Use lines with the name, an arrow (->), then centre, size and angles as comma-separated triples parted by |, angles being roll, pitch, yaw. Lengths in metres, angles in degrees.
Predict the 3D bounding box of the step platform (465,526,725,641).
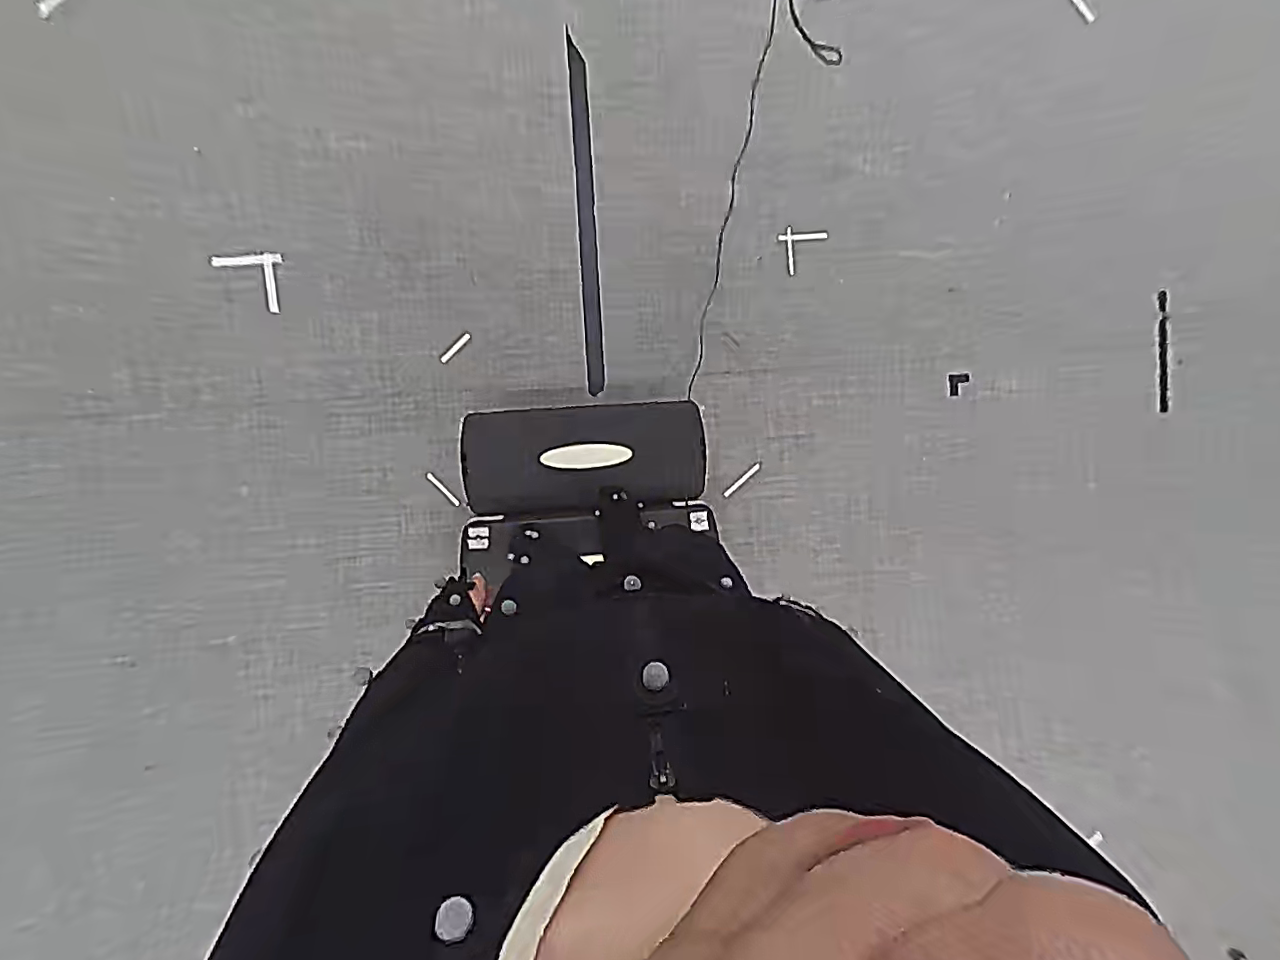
step platform -> -0.115, 0.274, 1.463 | 0.684, 0.204, 0.286 | 0, 89, -5
